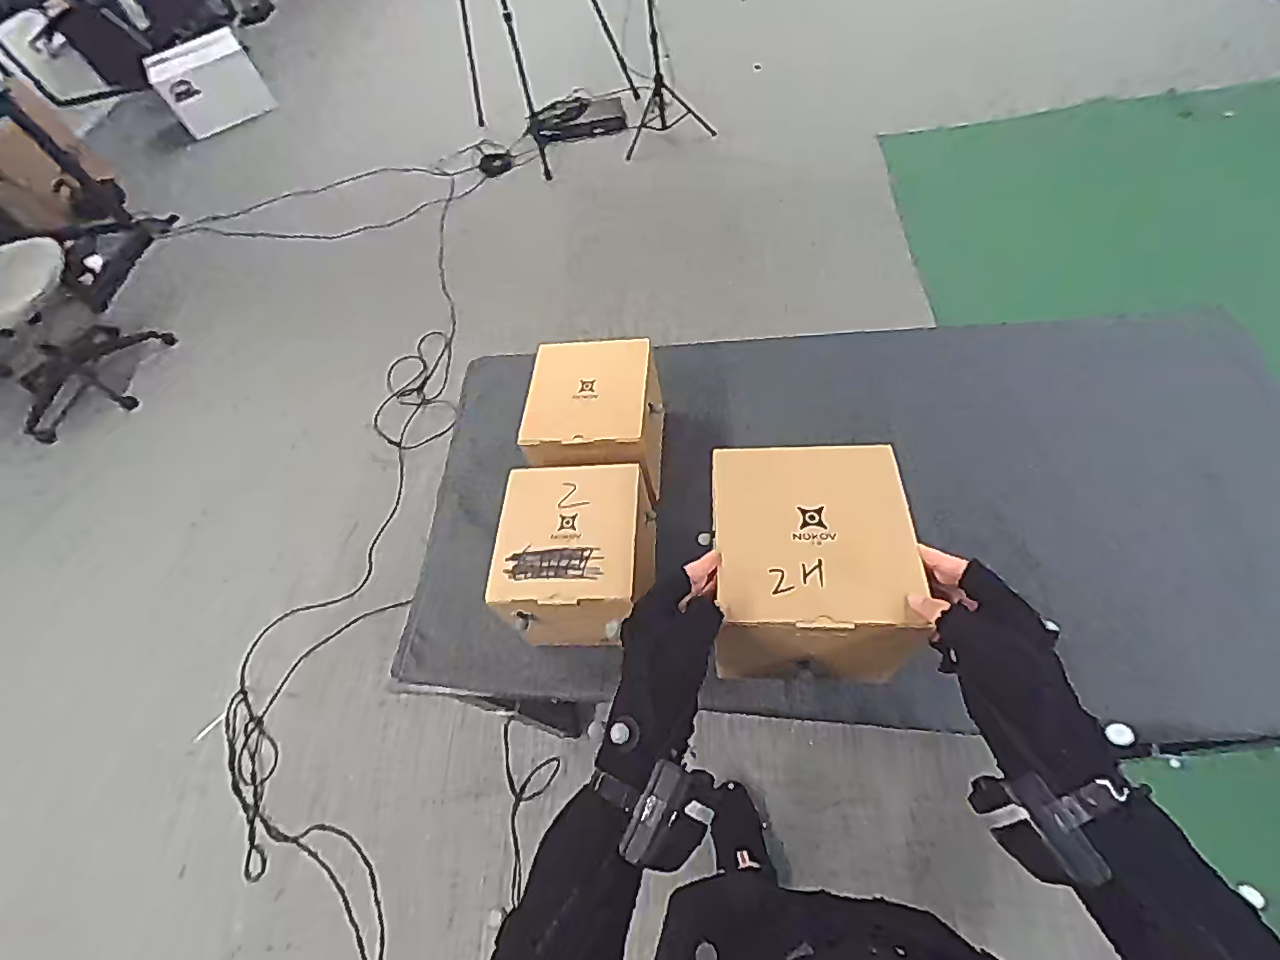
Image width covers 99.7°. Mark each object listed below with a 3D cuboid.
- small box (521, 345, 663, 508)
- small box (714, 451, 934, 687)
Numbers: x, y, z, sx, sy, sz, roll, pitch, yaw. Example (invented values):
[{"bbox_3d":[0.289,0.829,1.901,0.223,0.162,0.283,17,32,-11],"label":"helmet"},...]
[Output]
[{"bbox_3d":[-0.058,-0.075,0.799,0.168,0.176,0.179,-1,60,10],"label":"small box"},{"bbox_3d":[0.157,0.090,0.533,0.168,0.176,0.179,-1,56,7],"label":"small box"}]
